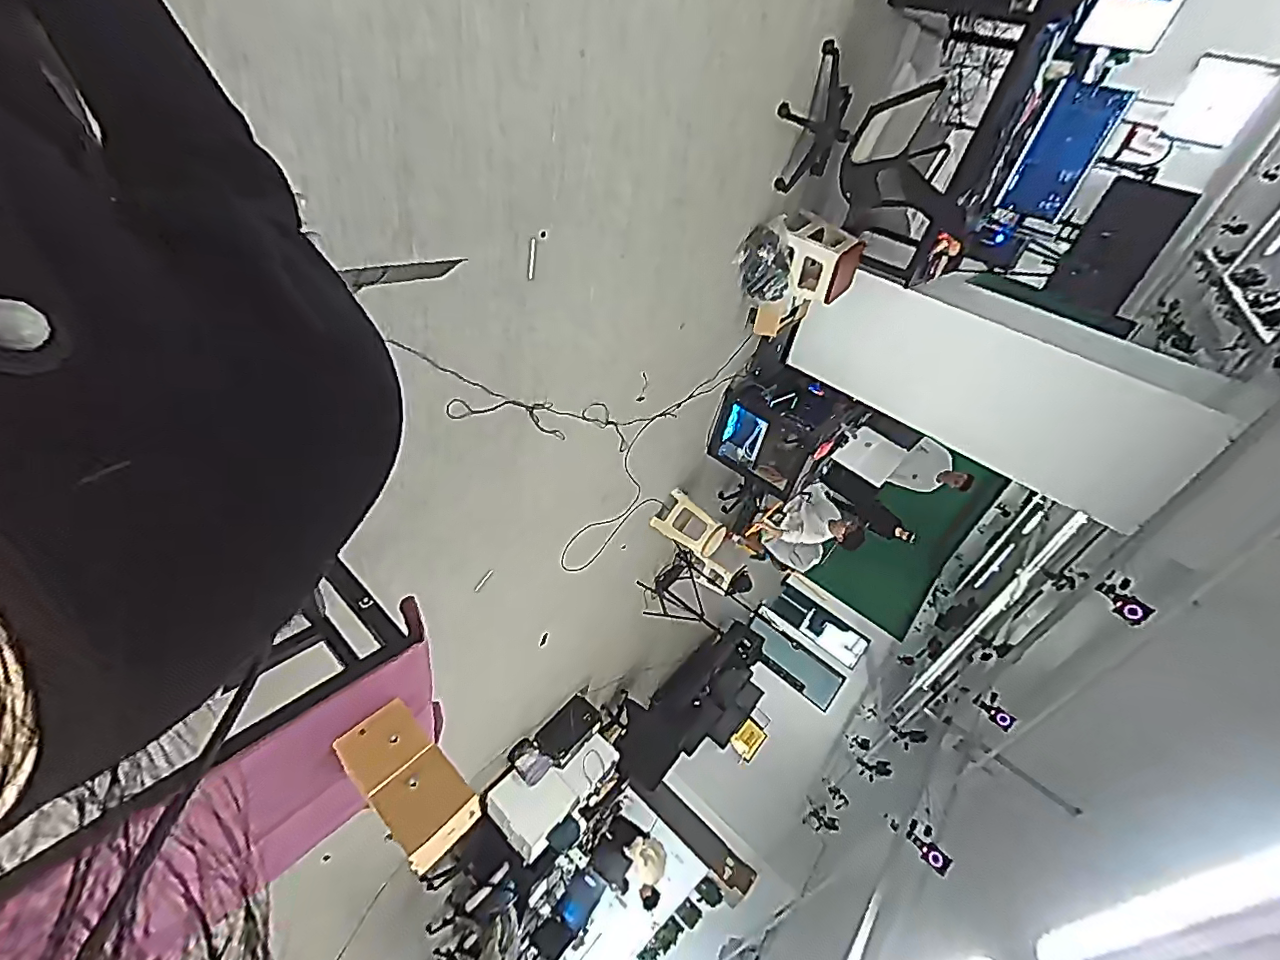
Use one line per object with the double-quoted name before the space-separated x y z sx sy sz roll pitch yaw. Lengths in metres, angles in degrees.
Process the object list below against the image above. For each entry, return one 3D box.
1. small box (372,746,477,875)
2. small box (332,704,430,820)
"small box" -0.517 0.787 1.295 0.179 0.176 0.168 -33 148 -37
"small box" -0.641 0.698 1.356 0.168 0.176 0.179 -33 148 -39
